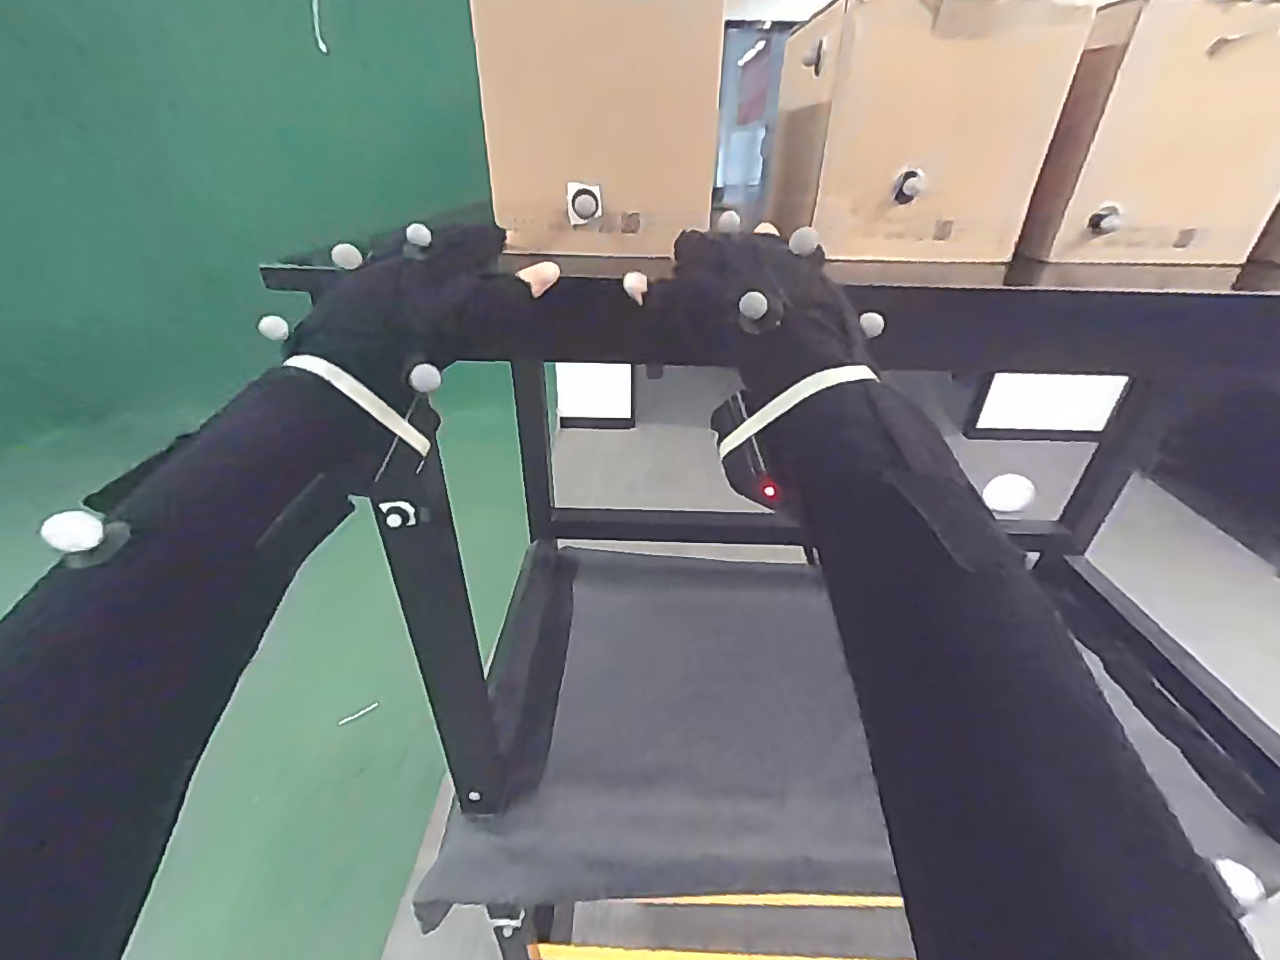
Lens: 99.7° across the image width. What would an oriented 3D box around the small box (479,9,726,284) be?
[{"bbox_3d":[-0.026,-0.275,0.463,0.168,0.176,0.179,0,32,-1],"label":"small box"}]
